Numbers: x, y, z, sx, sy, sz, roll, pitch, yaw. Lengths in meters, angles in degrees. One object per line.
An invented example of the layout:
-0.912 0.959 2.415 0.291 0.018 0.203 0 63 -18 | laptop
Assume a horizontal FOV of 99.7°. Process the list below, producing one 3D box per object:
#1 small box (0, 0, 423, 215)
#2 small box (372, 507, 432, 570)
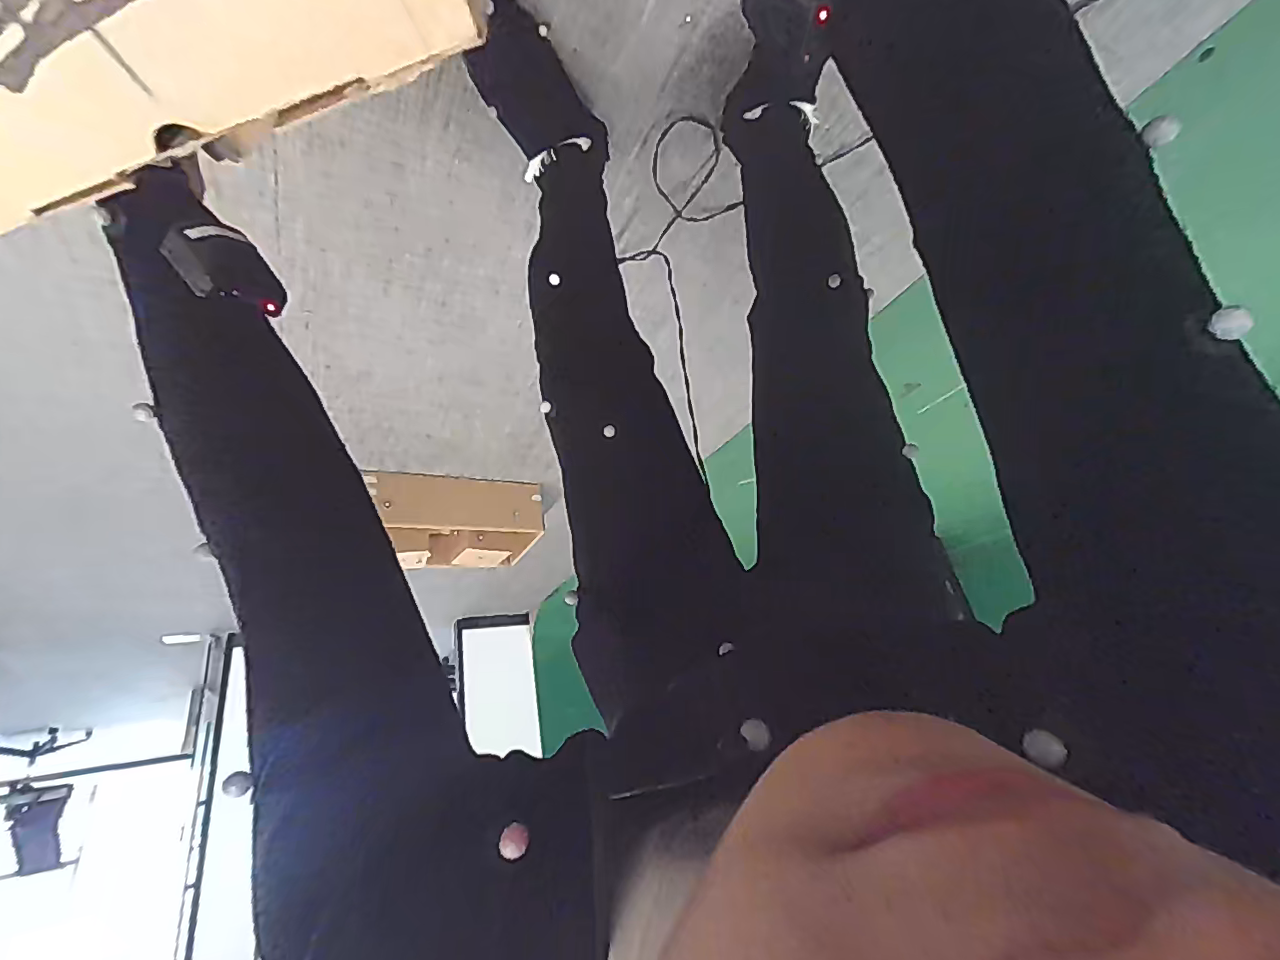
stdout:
-0.151 -0.186 0.094 0.168 0.176 0.179 -13 152 10 | small box
-0.816 0.198 1.855 0.179 0.176 0.168 2 152 -27 | small box
